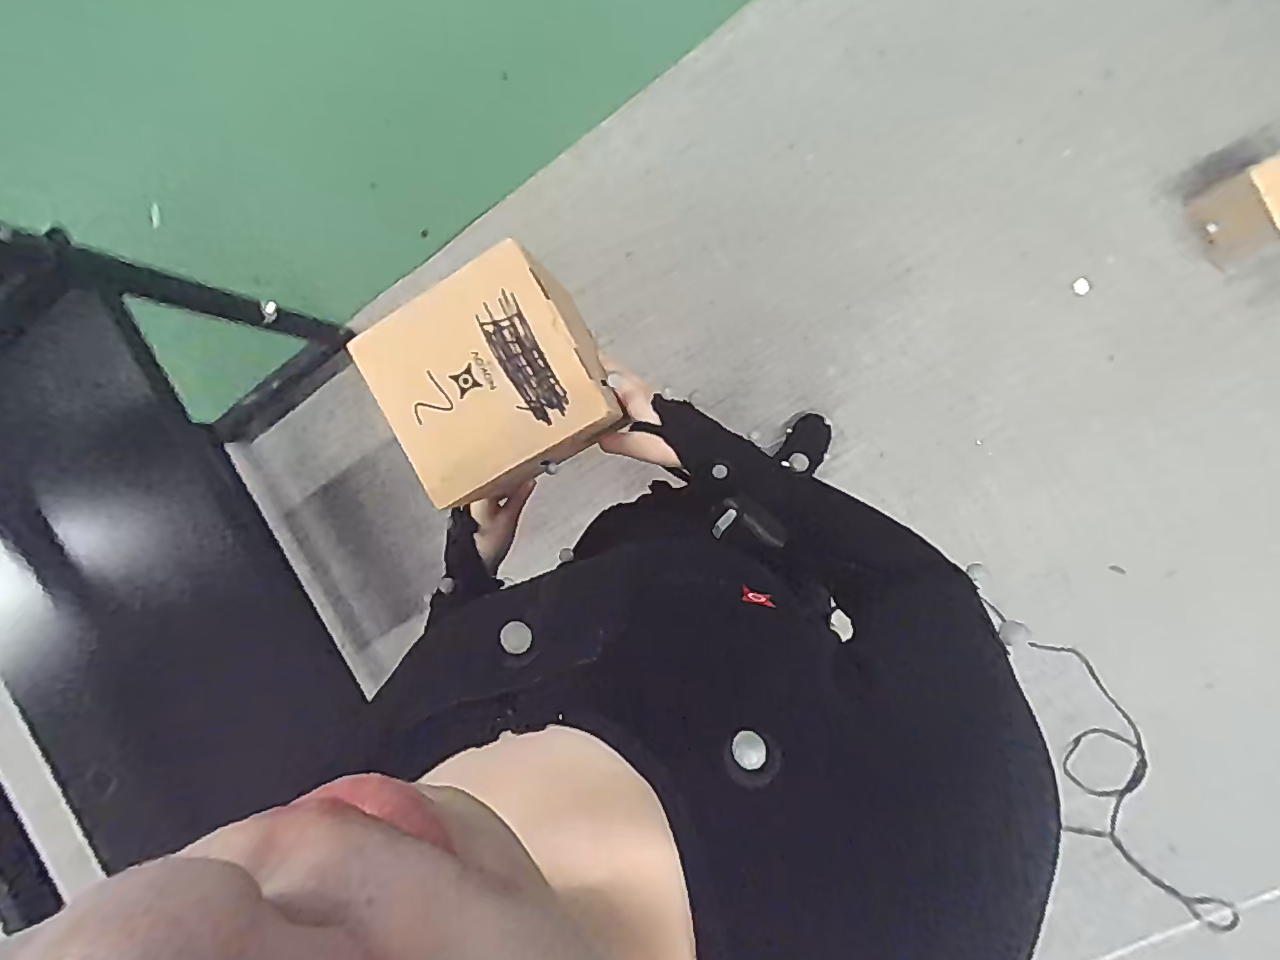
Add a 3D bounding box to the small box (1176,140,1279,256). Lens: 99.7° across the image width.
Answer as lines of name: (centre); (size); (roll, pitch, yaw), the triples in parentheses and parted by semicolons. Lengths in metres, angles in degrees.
small box: (1.325, -0.613, 1.150); (0.179, 0.176, 0.168); (-26, 89, 12)
